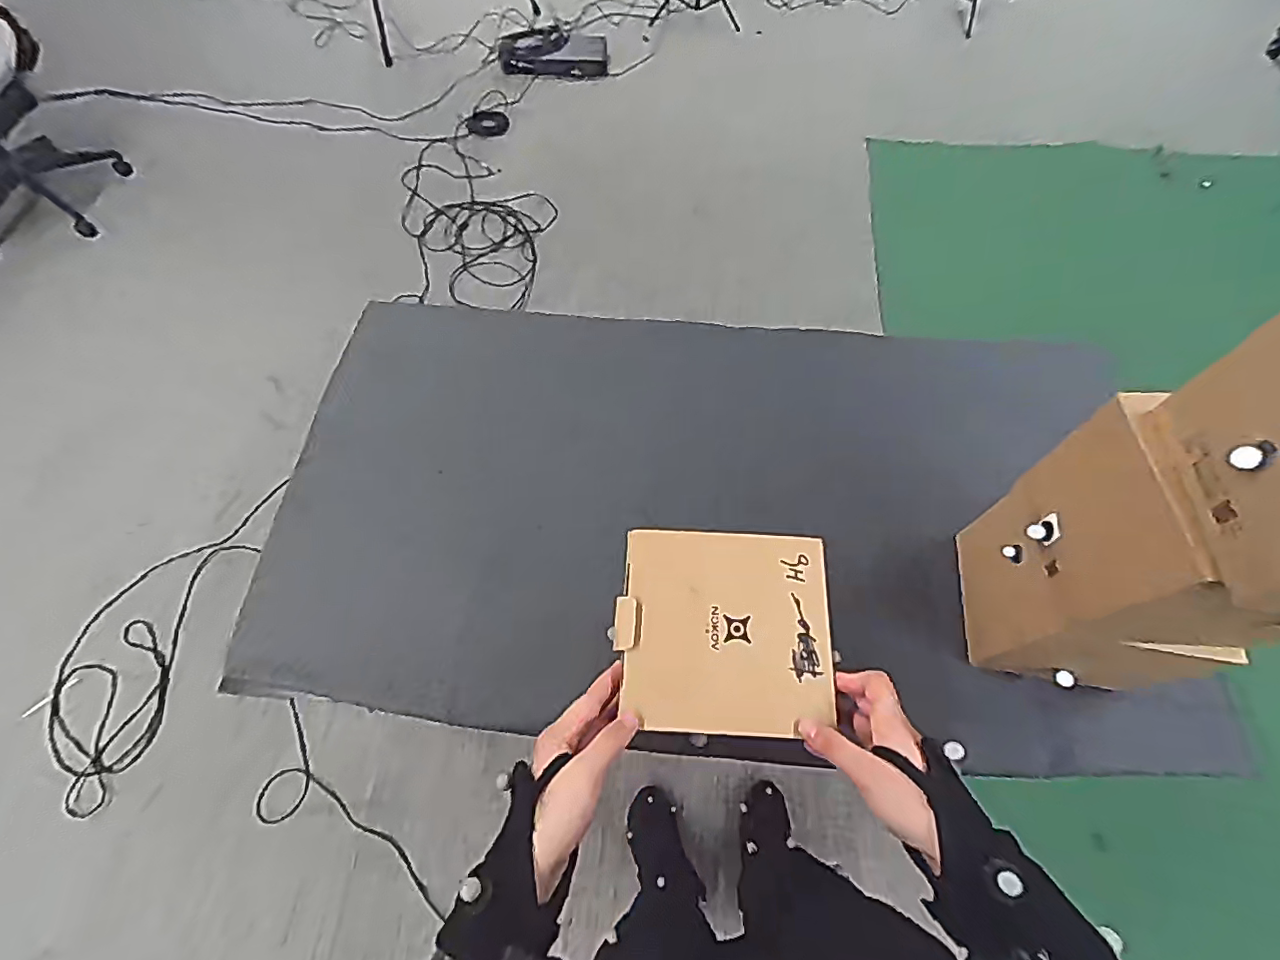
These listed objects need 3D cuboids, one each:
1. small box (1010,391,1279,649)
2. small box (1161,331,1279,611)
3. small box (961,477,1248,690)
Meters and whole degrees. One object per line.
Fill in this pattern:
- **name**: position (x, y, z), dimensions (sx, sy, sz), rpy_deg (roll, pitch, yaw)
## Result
- **small box**: position (0.469, 0.042, 0.463), dimensions (0.179, 0.176, 0.168), rpy_deg (1, 60, 4)
- **small box**: position (0.475, -0.019, 0.307), dimensions (0.179, 0.176, 0.168), rpy_deg (6, 60, 5)
- **small box**: position (0.485, 0.121, 0.604), dimensions (0.168, 0.176, 0.179), rpy_deg (8, 62, 7)
